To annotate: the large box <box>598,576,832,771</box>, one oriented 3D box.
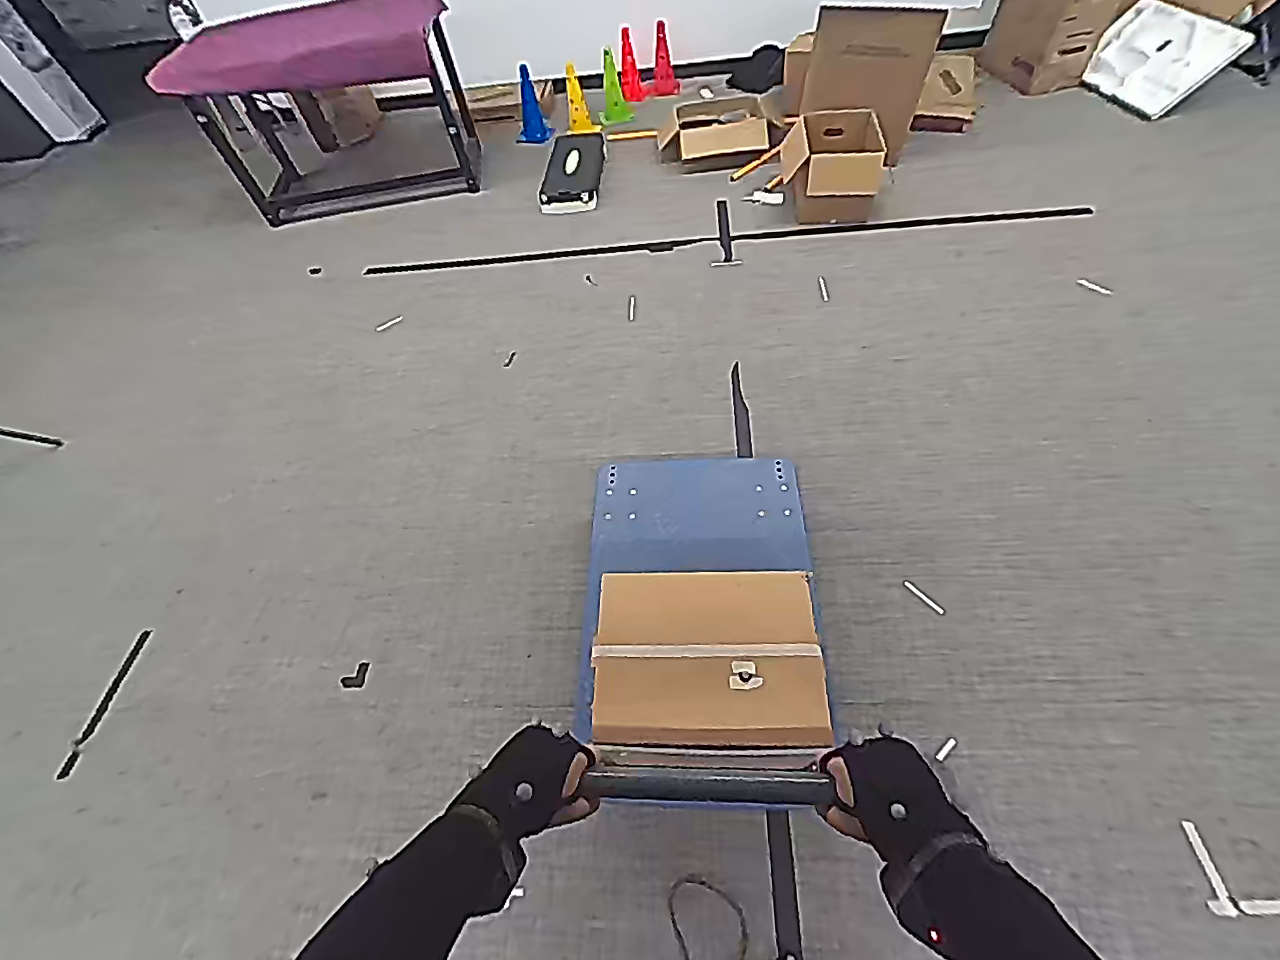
[{"bbox_3d":[0.134,0.408,1.118,0.408,0.320,0.320,-2,57,4],"label":"large box"}]
